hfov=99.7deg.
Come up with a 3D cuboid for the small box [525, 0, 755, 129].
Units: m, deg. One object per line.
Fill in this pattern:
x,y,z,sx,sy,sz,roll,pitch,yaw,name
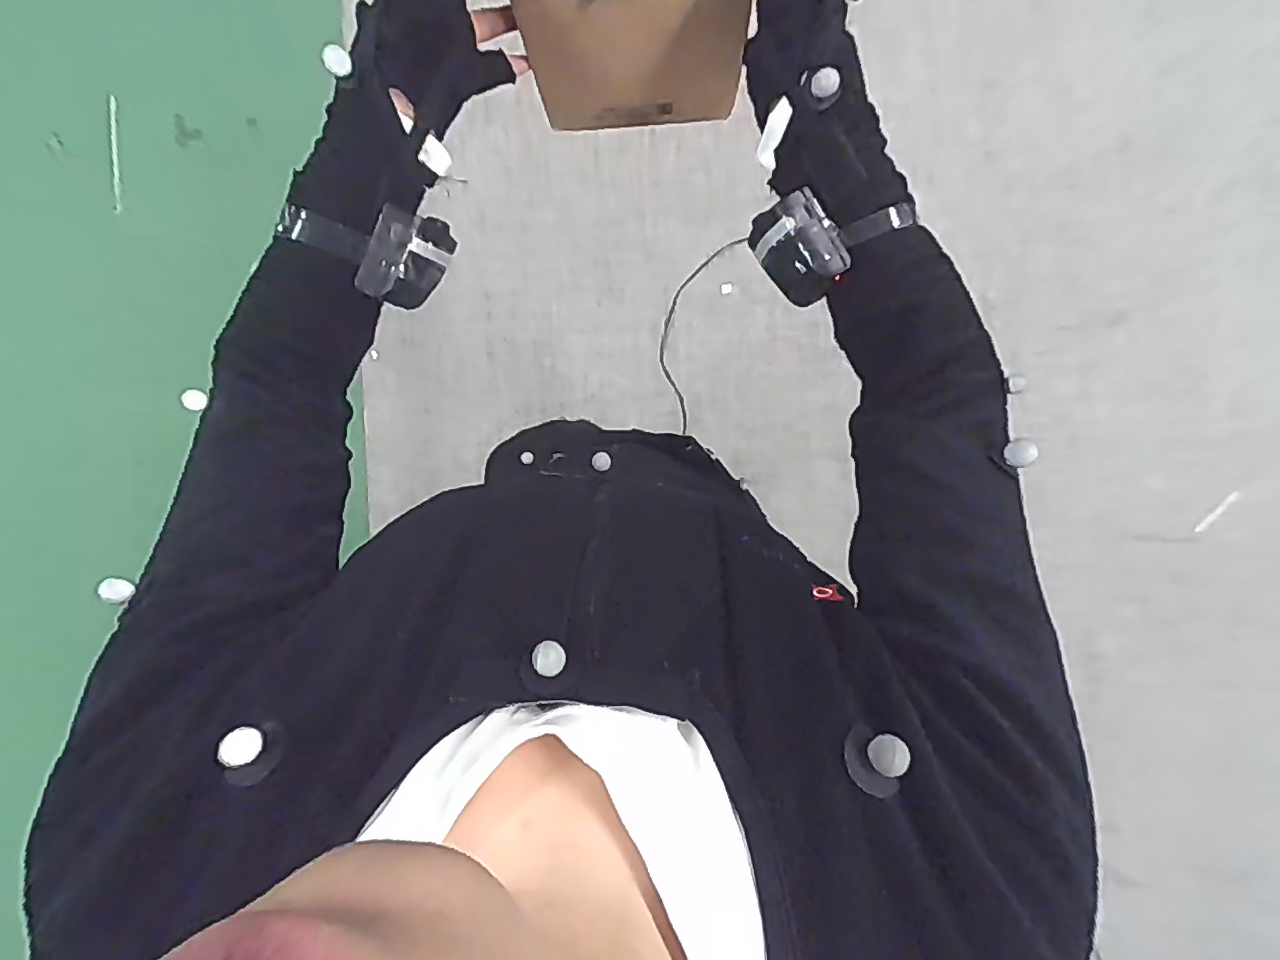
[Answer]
-0.002,-0.411,0.412,0.168,0.176,0.179,-2,87,4,small box
